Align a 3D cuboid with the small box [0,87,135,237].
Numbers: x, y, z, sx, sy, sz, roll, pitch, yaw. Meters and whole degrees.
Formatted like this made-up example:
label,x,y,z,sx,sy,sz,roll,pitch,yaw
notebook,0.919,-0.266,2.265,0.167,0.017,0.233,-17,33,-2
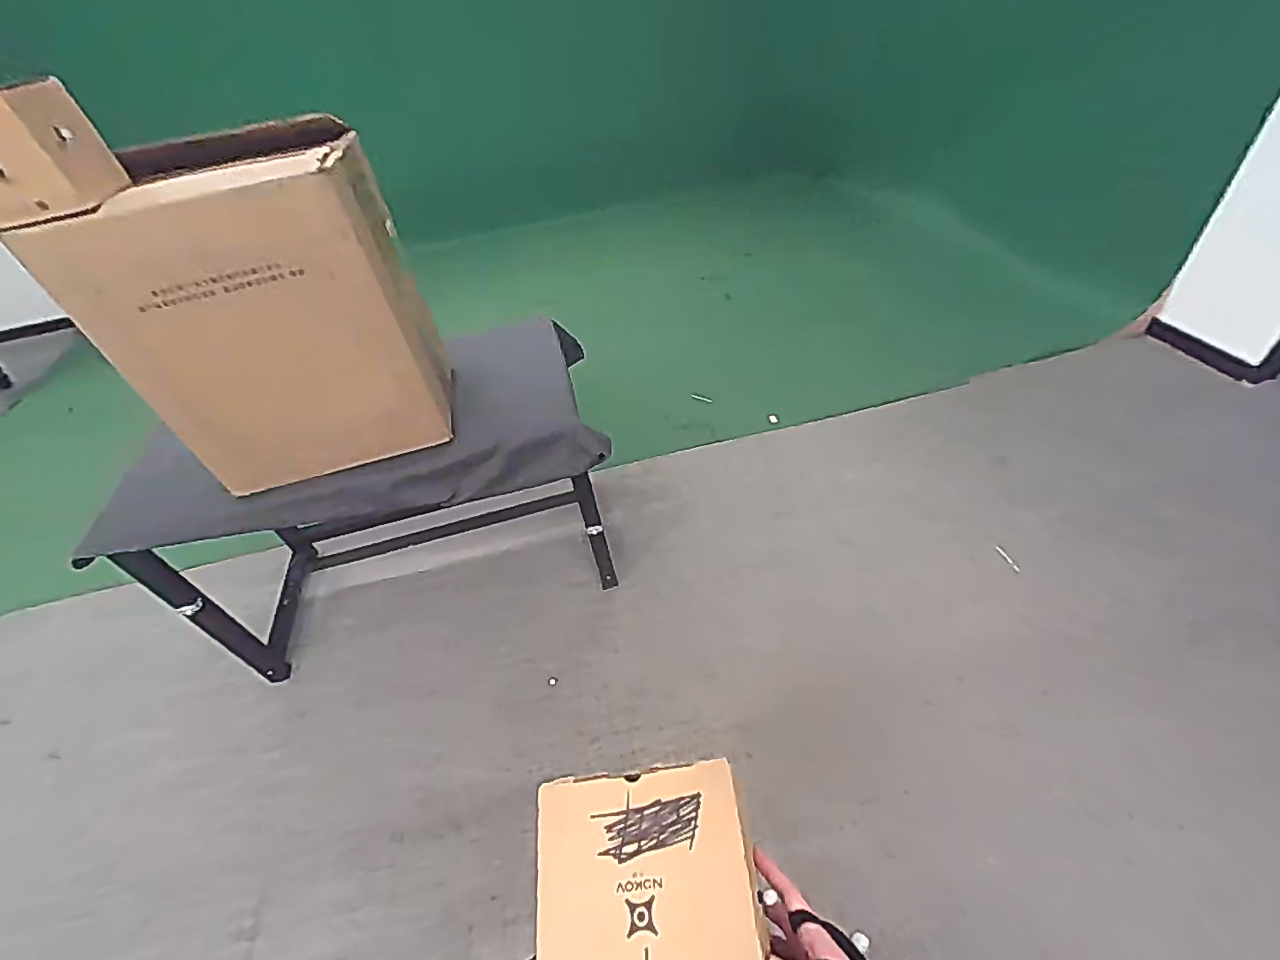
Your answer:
label,x,y,z,sx,sy,sz,roll,pitch,yaw
small box,-1.019,-0.529,0.909,0.168,0.176,0.179,-17,45,-5
